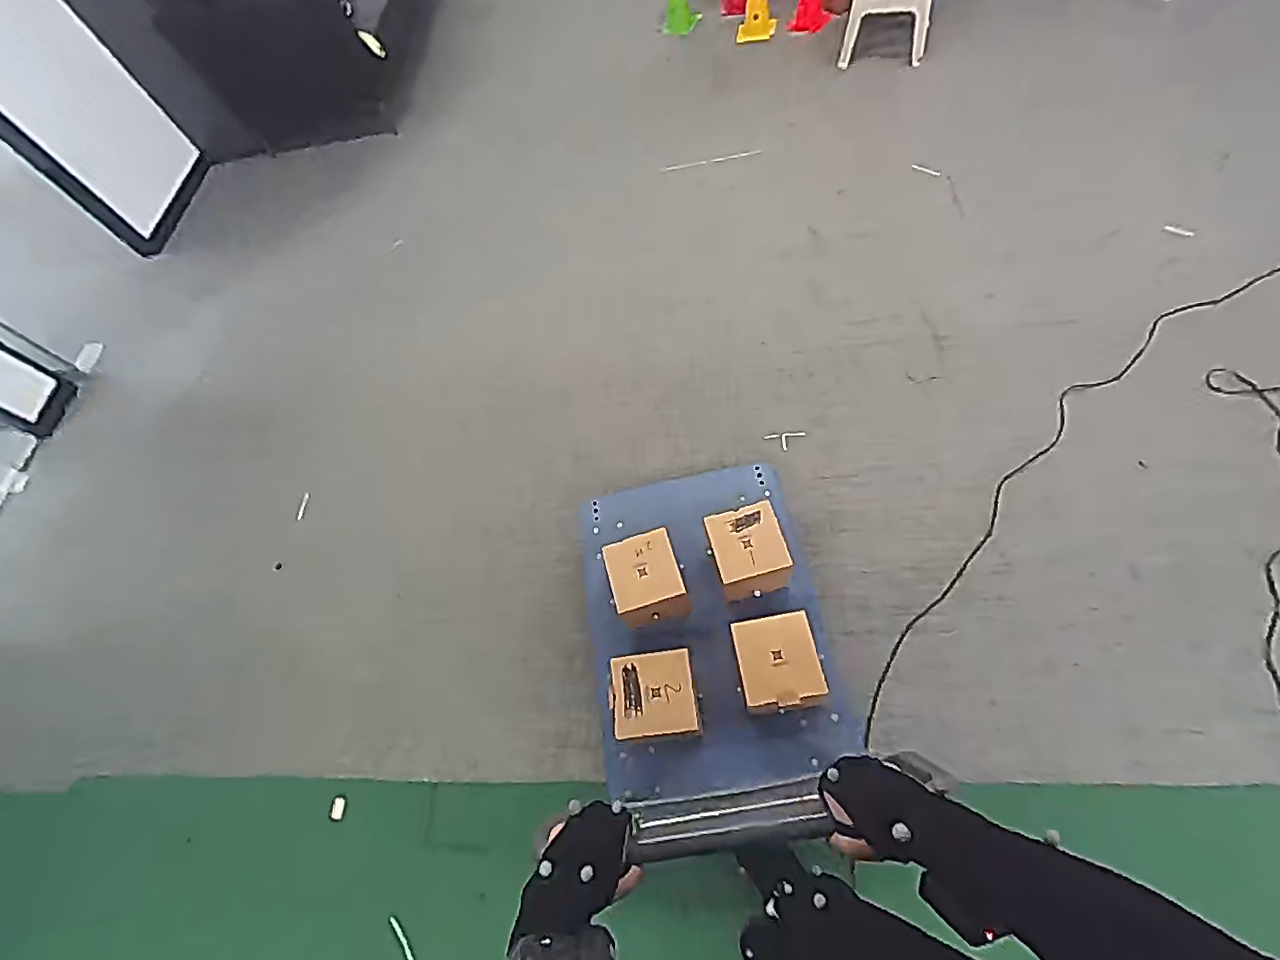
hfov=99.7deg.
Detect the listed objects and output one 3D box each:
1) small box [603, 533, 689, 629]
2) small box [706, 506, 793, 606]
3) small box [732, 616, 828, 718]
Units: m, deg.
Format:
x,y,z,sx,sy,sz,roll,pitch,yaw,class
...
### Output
x,y,z,sx,sy,sz,roll,pitch,yaw,class
0.020,0.260,1.352,0.168,0.176,0.179,-17,60,1,small box
0.266,0.192,1.340,0.168,0.176,0.179,-16,61,3,small box
0.302,0.422,1.208,0.168,0.176,0.179,-11,61,5,small box
